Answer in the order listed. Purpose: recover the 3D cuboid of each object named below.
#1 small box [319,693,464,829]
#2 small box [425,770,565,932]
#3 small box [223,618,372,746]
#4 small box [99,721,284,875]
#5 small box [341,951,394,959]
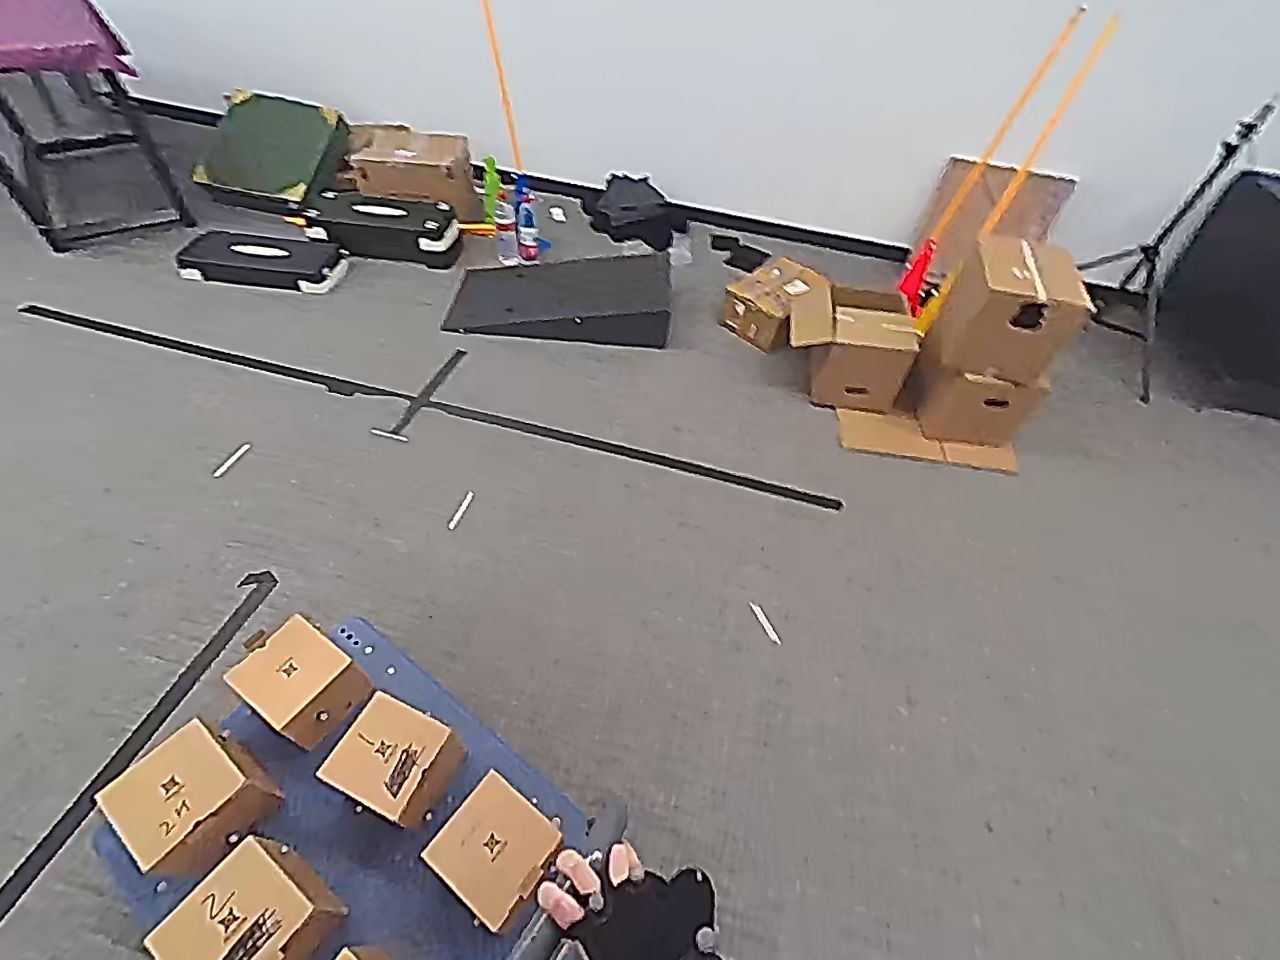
[{"bbox_3d":[-0.468,0.550,1.052,0.179,0.176,0.168,20,51,12],"label":"small box"},{"bbox_3d":[-0.250,0.669,0.980,0.179,0.176,0.168,31,53,19],"label":"small box"},{"bbox_3d":[-0.699,0.428,1.127,0.179,0.176,0.168,28,53,16],"label":"small box"},{"bbox_3d":[-0.802,0.583,0.984,0.179,0.176,0.168,33,55,18],"label":"small box"},{"bbox_3d":[-0.417,0.848,0.810,0.179,0.176,0.168,28,52,16],"label":"small box"}]
